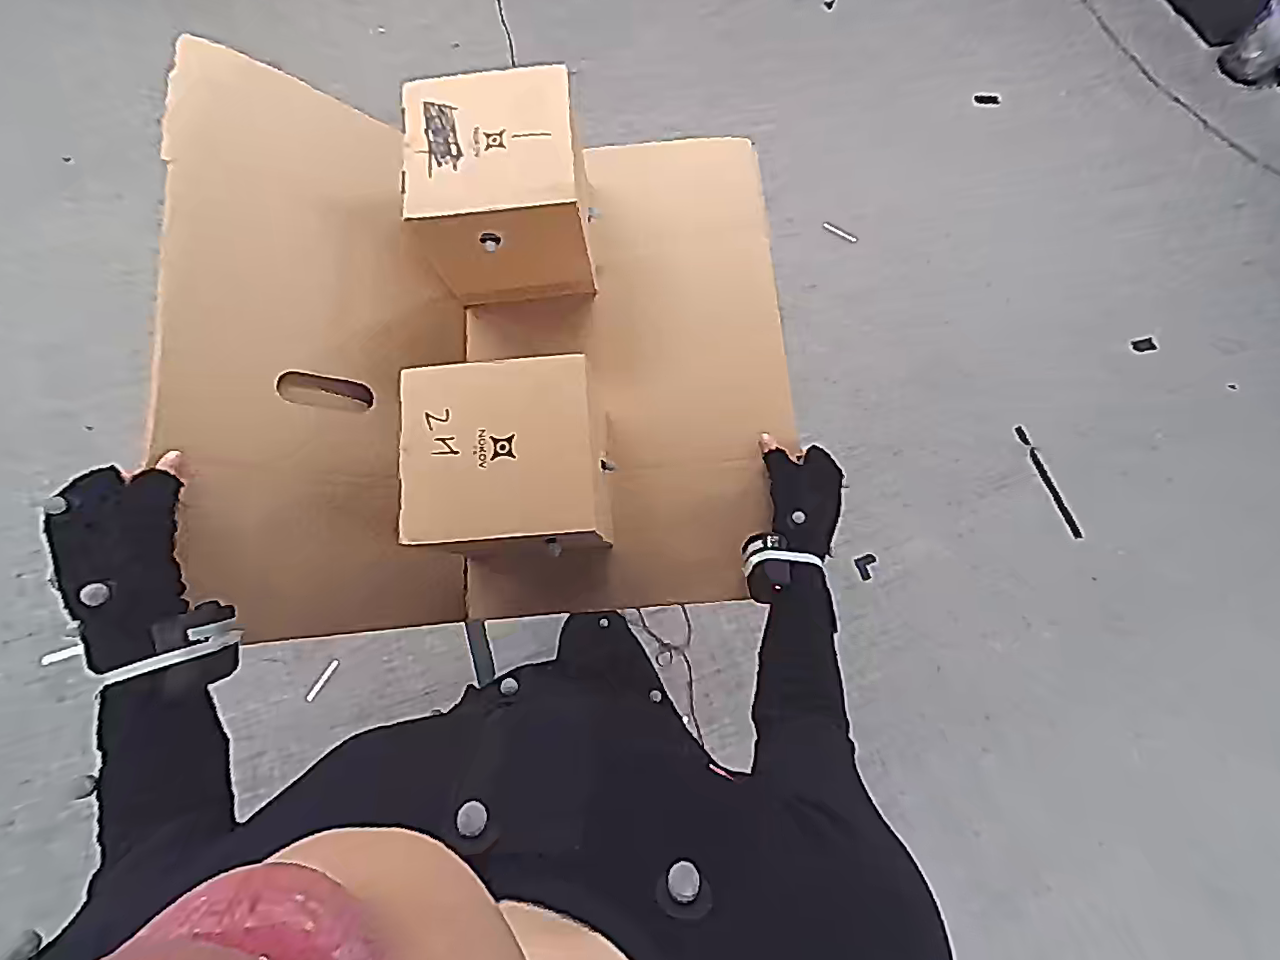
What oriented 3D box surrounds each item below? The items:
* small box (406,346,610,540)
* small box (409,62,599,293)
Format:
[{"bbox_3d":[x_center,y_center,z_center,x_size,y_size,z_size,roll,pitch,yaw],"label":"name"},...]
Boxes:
[{"bbox_3d":[-0.124,-0.028,0.575,0.179,0.176,0.168,-4,79,2],"label":"small box"},{"bbox_3d":[-0.150,-0.339,0.637,0.179,0.176,0.168,-5,79,1],"label":"small box"}]
